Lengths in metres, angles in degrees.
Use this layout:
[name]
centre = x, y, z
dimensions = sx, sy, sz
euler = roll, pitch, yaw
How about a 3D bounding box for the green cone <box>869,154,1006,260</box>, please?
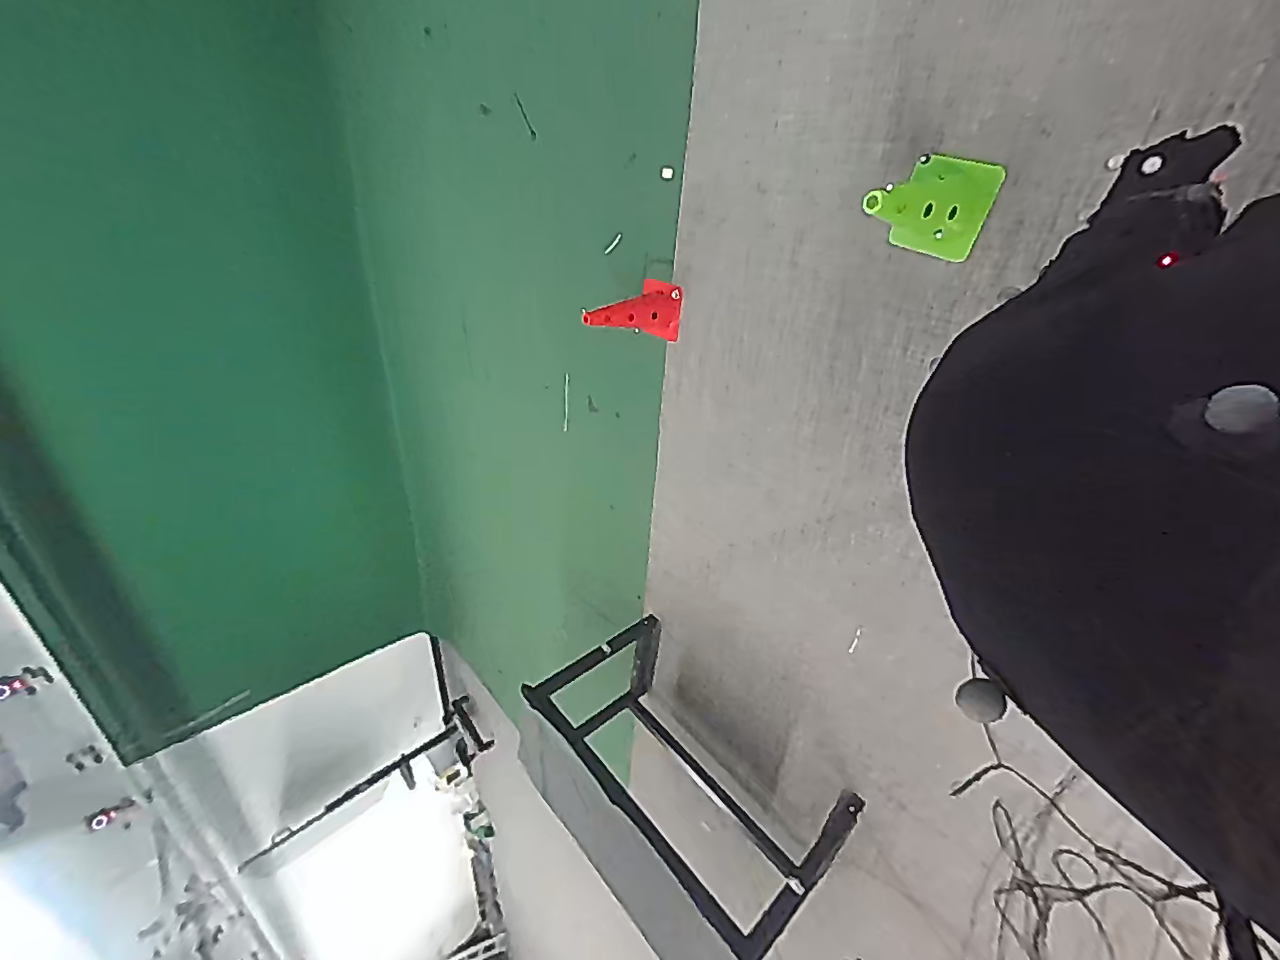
[green cone]
centre = 0.591, -0.594, 1.165
dimensions = 0.202, 0.368, 0.200
euler = 37, 131, 34
